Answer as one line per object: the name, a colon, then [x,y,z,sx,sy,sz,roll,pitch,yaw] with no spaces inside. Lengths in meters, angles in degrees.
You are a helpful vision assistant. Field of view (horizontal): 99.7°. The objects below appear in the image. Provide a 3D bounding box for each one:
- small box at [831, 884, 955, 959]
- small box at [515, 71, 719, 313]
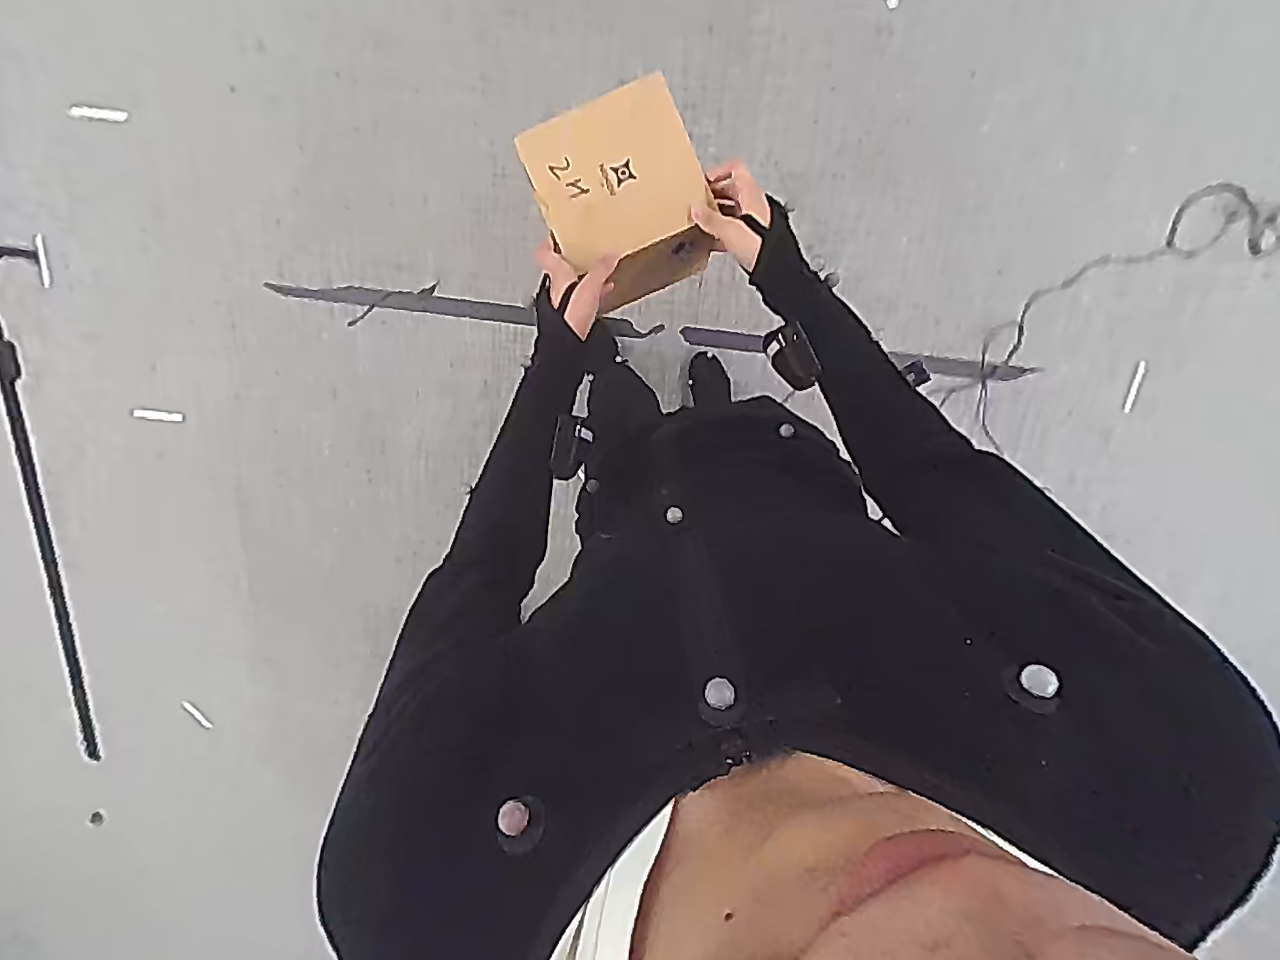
small box: [0.493,0.942,1.067,0.168,0.176,0.179,4,108,1]
small box: [-0.024,-0.326,0.651,0.179,0.176,0.168,-22,91,2]
